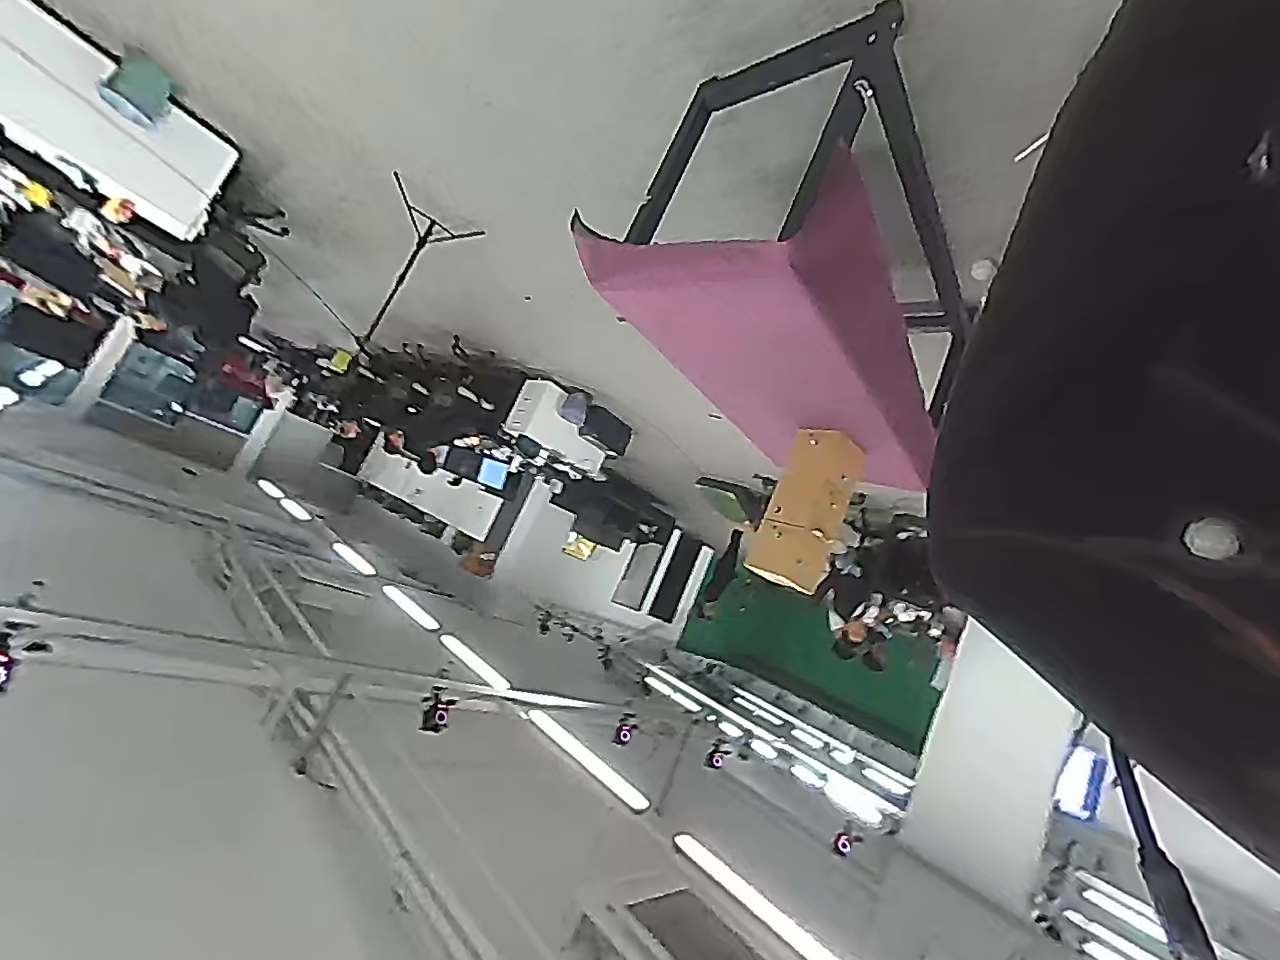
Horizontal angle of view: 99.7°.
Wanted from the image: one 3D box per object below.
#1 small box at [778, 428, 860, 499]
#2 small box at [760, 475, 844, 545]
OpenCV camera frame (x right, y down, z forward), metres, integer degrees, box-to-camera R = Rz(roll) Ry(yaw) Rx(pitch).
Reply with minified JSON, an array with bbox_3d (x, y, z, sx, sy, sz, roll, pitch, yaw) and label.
[{"bbox_3d":[0.596,-0.058,1.787,0.179,0.176,0.168,32,167,-35],"label":"small box"},{"bbox_3d":[0.533,0.093,1.769,0.168,0.176,0.179,30,169,-34],"label":"small box"}]
